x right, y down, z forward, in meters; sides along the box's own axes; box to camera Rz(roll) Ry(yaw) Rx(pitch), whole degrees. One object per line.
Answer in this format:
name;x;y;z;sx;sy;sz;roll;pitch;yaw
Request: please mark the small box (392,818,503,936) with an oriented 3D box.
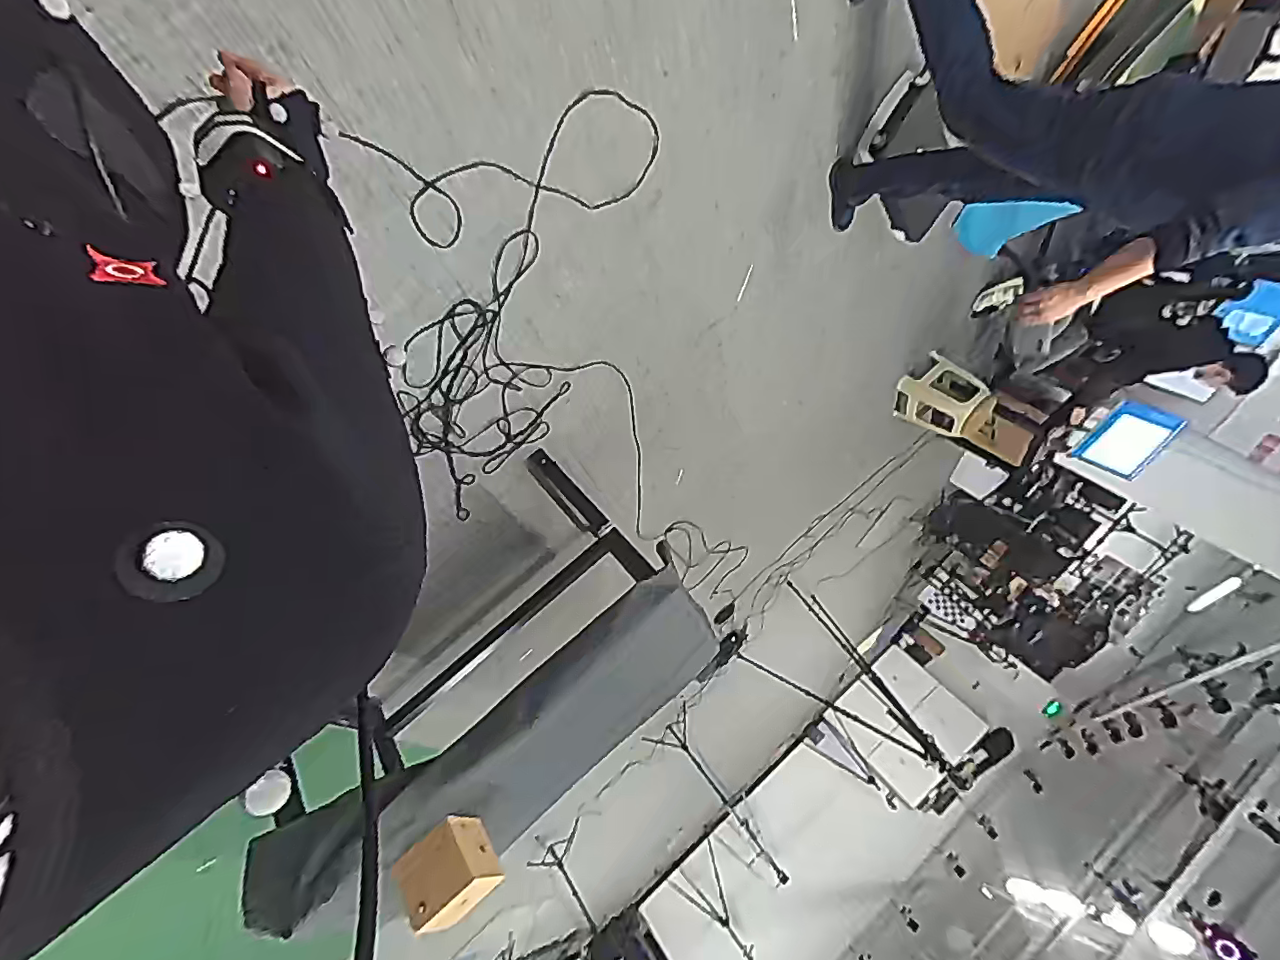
small box;-0.484;0.987;1.361;0.179;0.176;0.168;-39;145;-10
